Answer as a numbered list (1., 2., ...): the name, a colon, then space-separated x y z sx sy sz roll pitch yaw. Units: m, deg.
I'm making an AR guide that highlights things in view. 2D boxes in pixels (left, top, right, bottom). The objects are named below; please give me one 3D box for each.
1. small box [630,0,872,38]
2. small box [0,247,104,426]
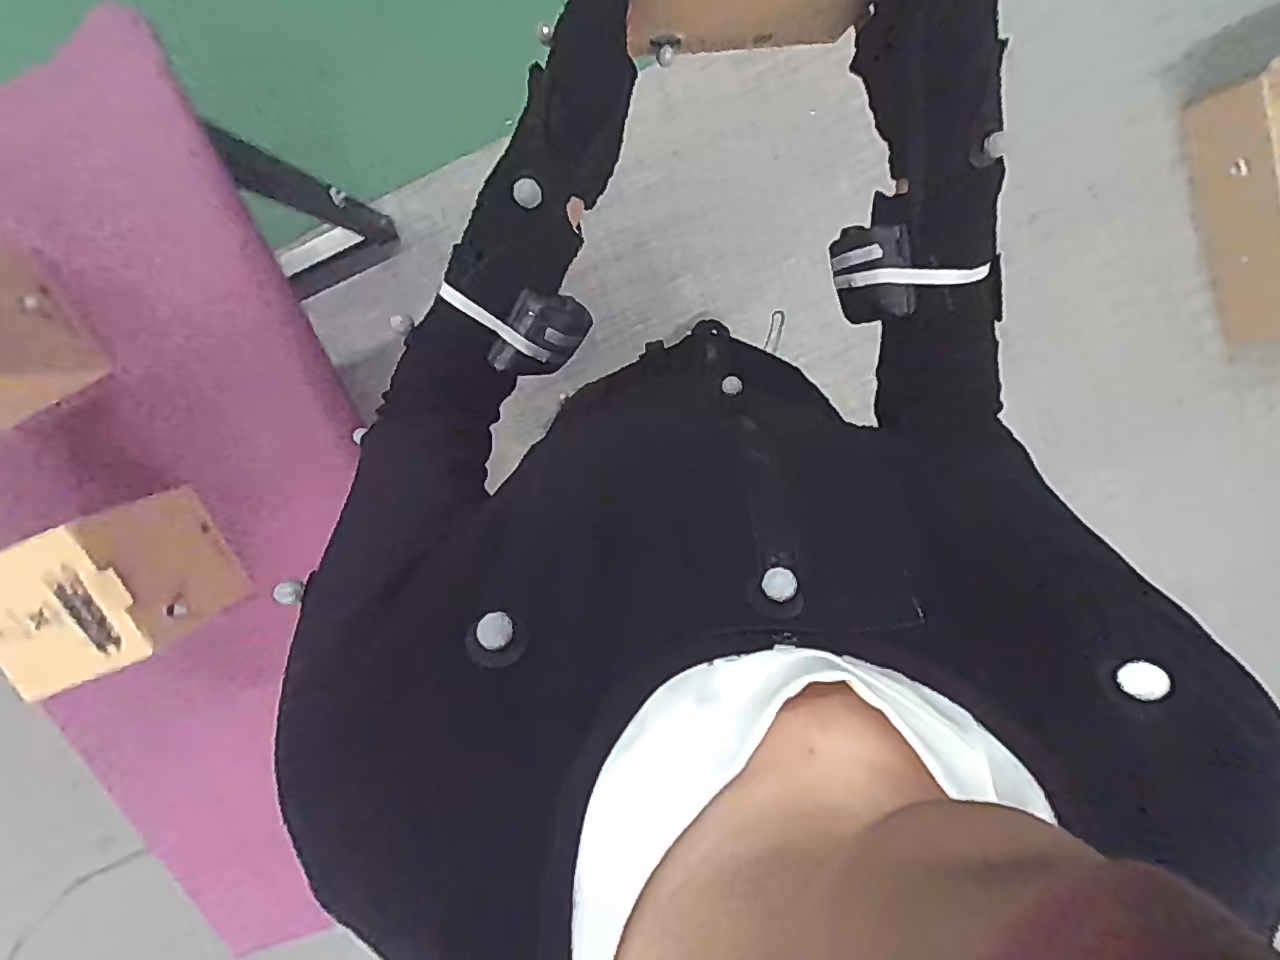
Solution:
1. small box: 0.073 -0.373 0.293 0.168 0.176 0.179 -4 111 -1
2. small box: -0.777 -0.152 0.595 0.179 0.176 0.168 -25 104 5
